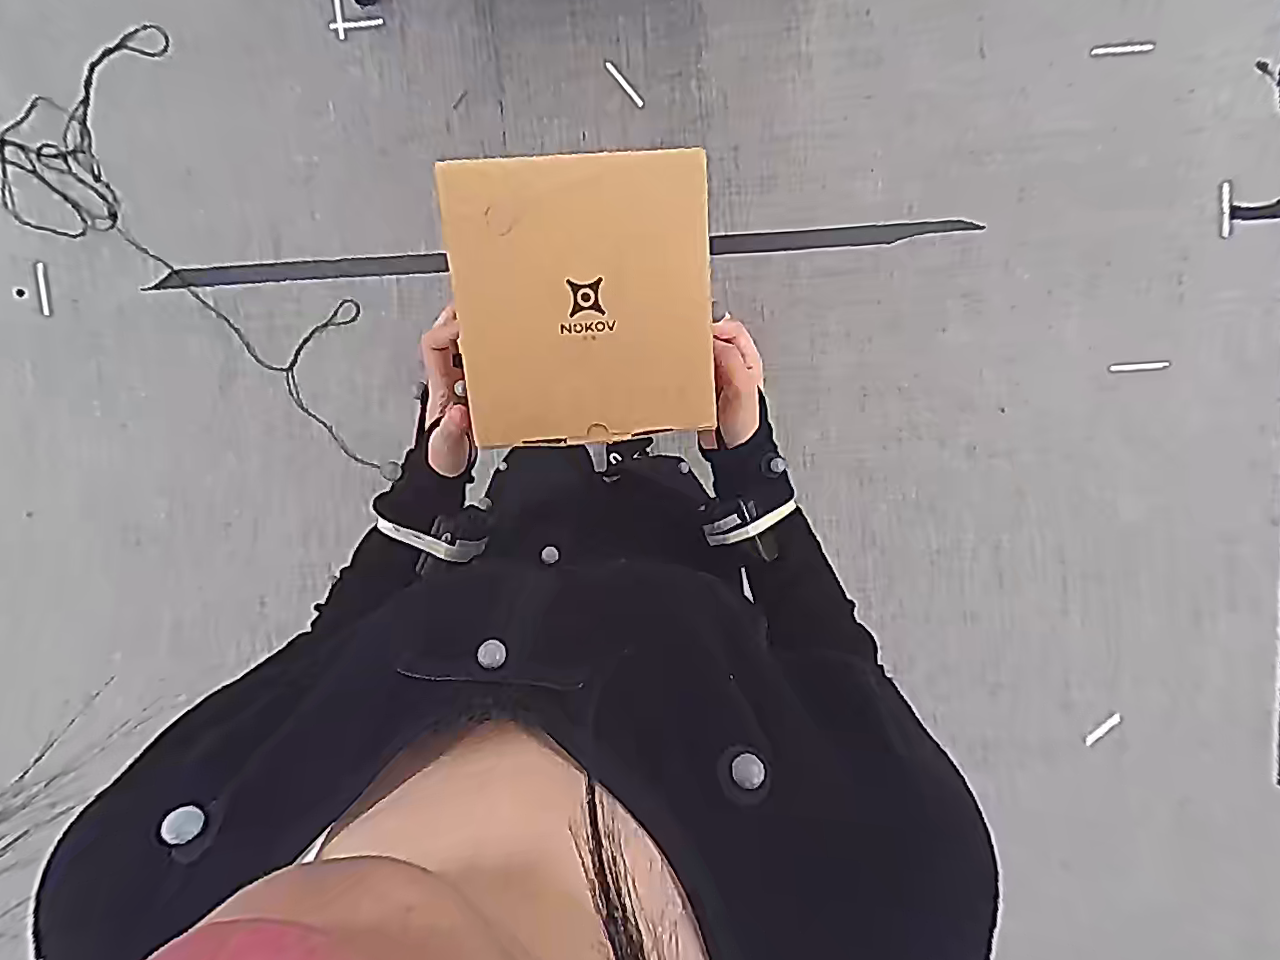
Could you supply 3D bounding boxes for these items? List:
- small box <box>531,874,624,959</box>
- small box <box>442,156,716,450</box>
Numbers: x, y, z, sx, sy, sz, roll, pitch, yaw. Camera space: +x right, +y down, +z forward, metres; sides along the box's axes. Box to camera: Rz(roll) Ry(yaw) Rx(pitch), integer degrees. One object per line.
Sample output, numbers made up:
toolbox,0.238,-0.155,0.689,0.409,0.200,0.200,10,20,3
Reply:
small box,-0.128,0.999,1.178,0.179,0.176,0.168,-5,93,1
small box,-0.042,-0.130,0.427,0.168,0.176,0.179,-6,105,-4
